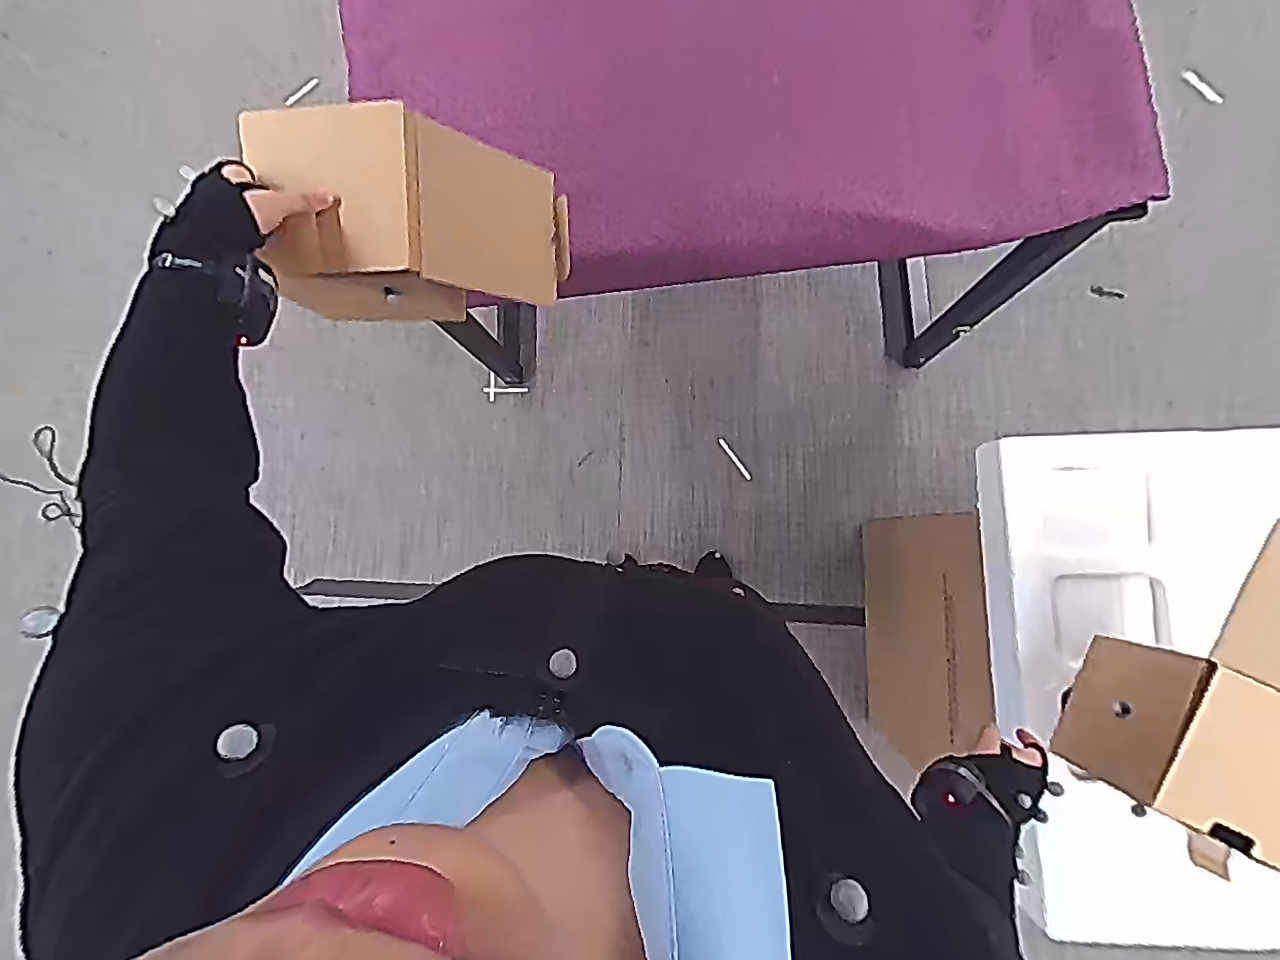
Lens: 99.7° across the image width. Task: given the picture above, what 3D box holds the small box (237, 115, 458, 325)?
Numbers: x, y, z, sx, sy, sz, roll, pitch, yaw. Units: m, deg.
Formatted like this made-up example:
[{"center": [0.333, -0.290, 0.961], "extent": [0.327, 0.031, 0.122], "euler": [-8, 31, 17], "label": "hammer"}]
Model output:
[{"center": [-0.317, -0.283, 0.622], "extent": [0.179, 0.176, 0.168], "euler": [-1, 90, -2], "label": "small box"}]
